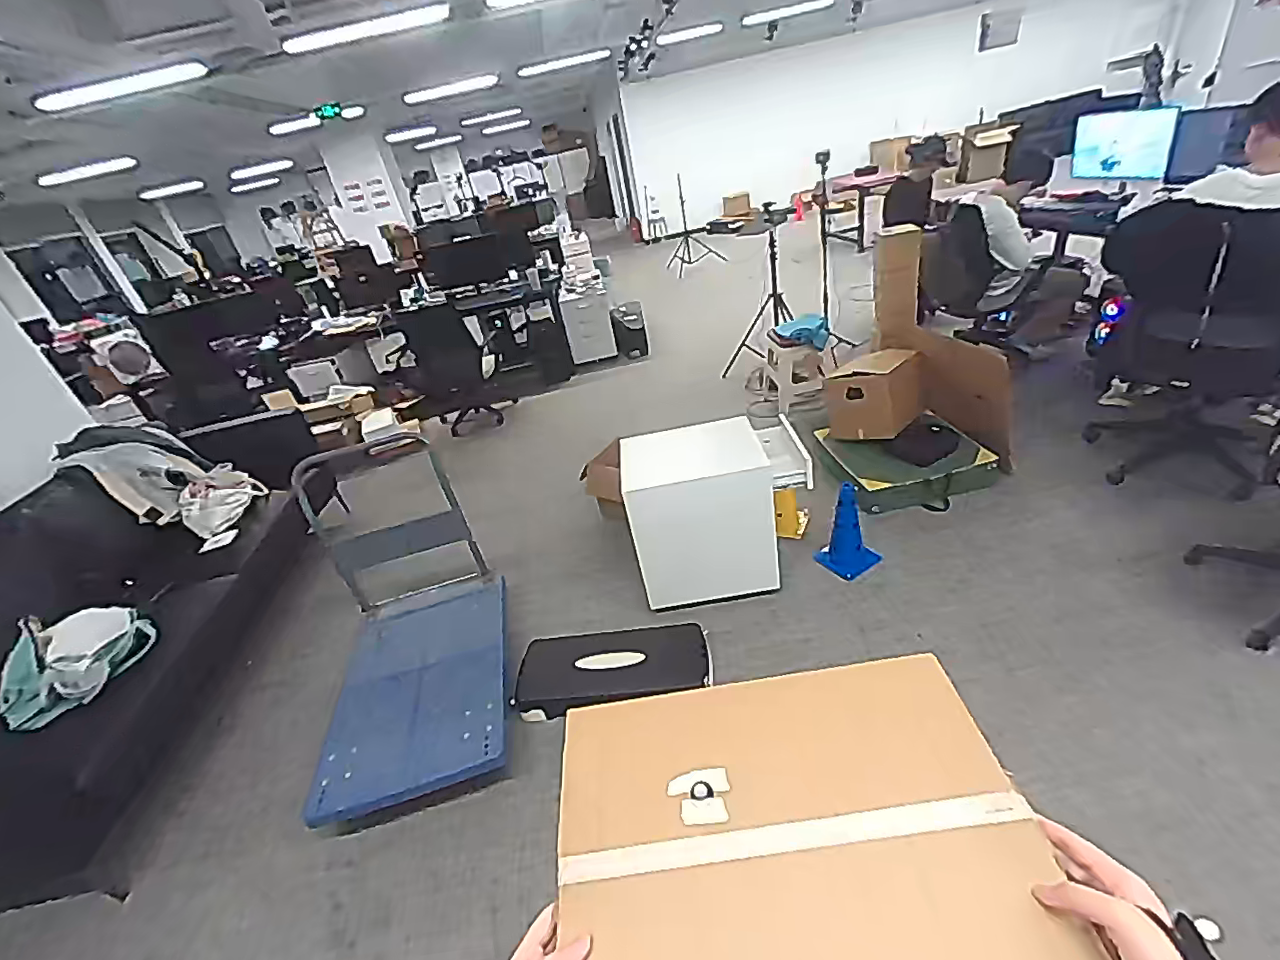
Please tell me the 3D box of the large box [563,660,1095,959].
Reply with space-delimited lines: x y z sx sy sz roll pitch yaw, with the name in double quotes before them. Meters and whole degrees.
"large box" 0.159 0.440 0.567 0.408 0.320 0.320 -12 36 5
